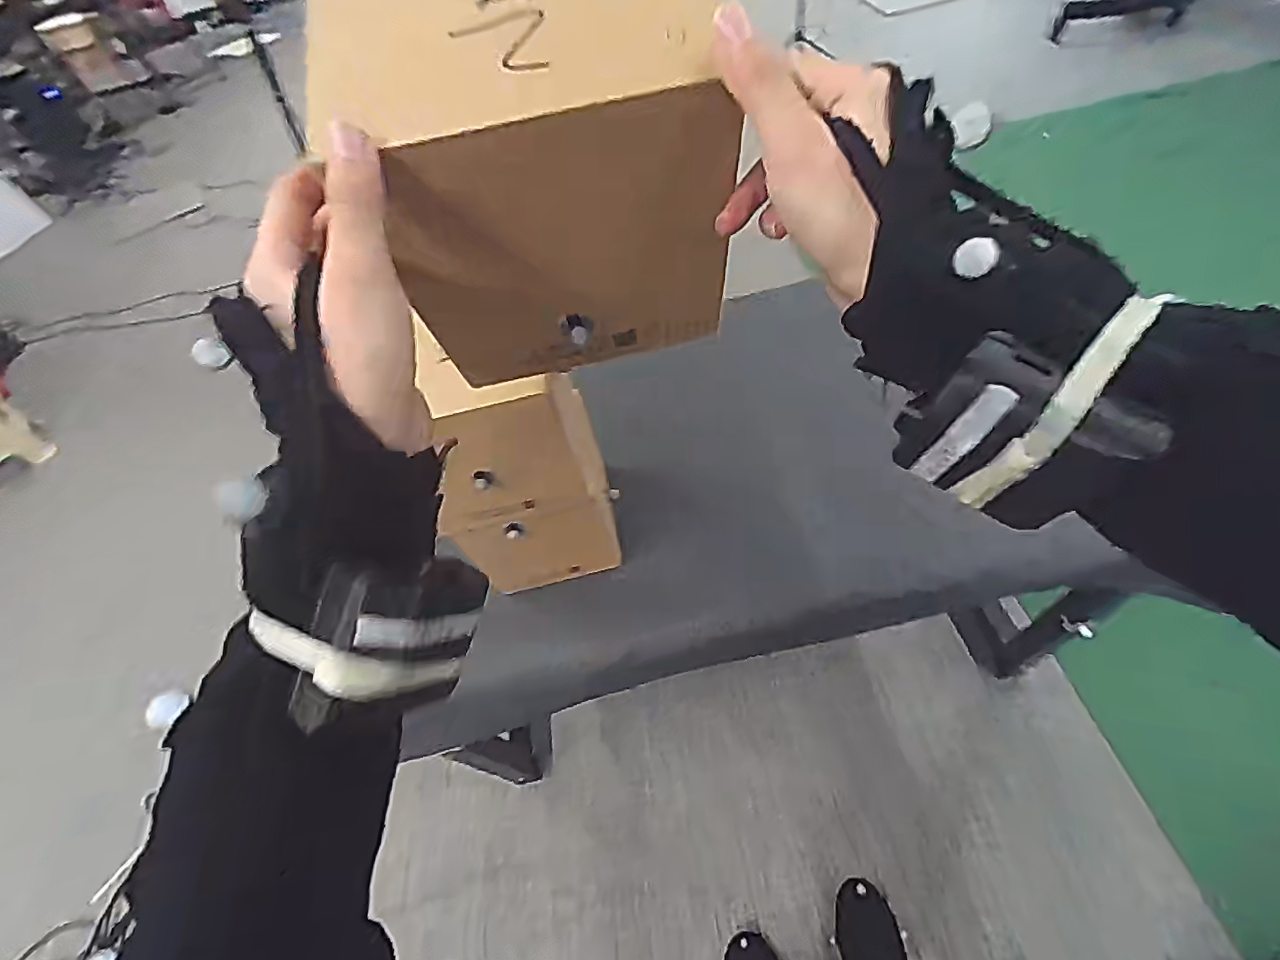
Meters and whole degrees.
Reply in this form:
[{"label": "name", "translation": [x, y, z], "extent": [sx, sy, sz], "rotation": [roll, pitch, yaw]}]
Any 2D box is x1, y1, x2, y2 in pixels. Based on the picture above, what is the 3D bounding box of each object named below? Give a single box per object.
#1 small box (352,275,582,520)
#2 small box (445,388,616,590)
[{"label": "small box", "translation": [-0.162, -0.075, 0.558], "extent": [0.168, 0.176, 0.179], "rotation": [-12, 53, 0]}, {"label": "small box", "translation": [-0.134, 0.015, 0.694], "extent": [0.168, 0.176, 0.179], "rotation": [-14, 53, 0]}]
